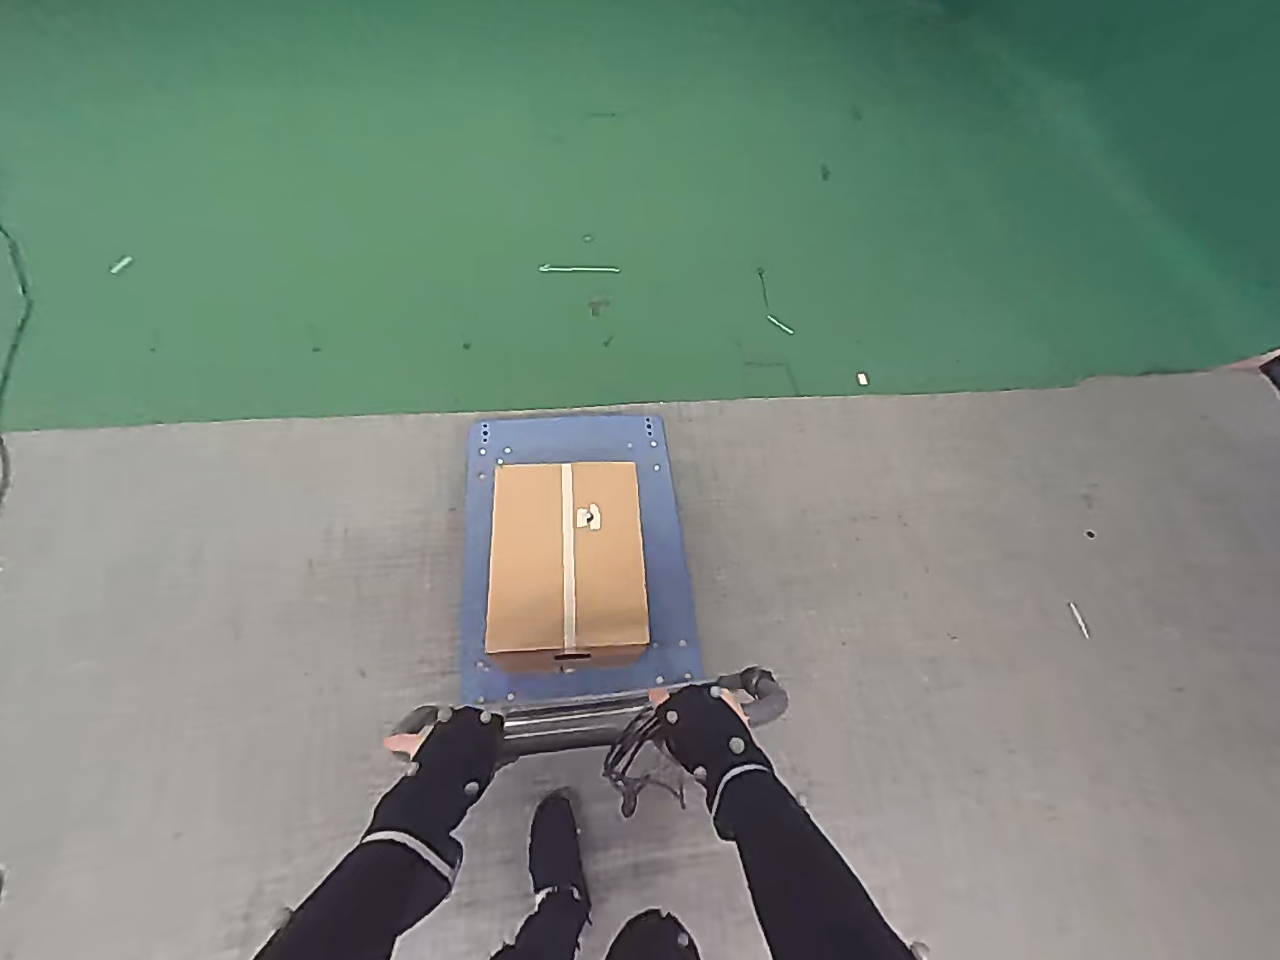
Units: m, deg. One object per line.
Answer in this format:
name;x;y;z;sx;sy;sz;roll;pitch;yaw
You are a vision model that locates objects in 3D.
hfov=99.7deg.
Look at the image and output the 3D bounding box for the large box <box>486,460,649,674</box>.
large box;-0.162;0.205;1.238;0.320;0.320;0.408;-1;63;-7
